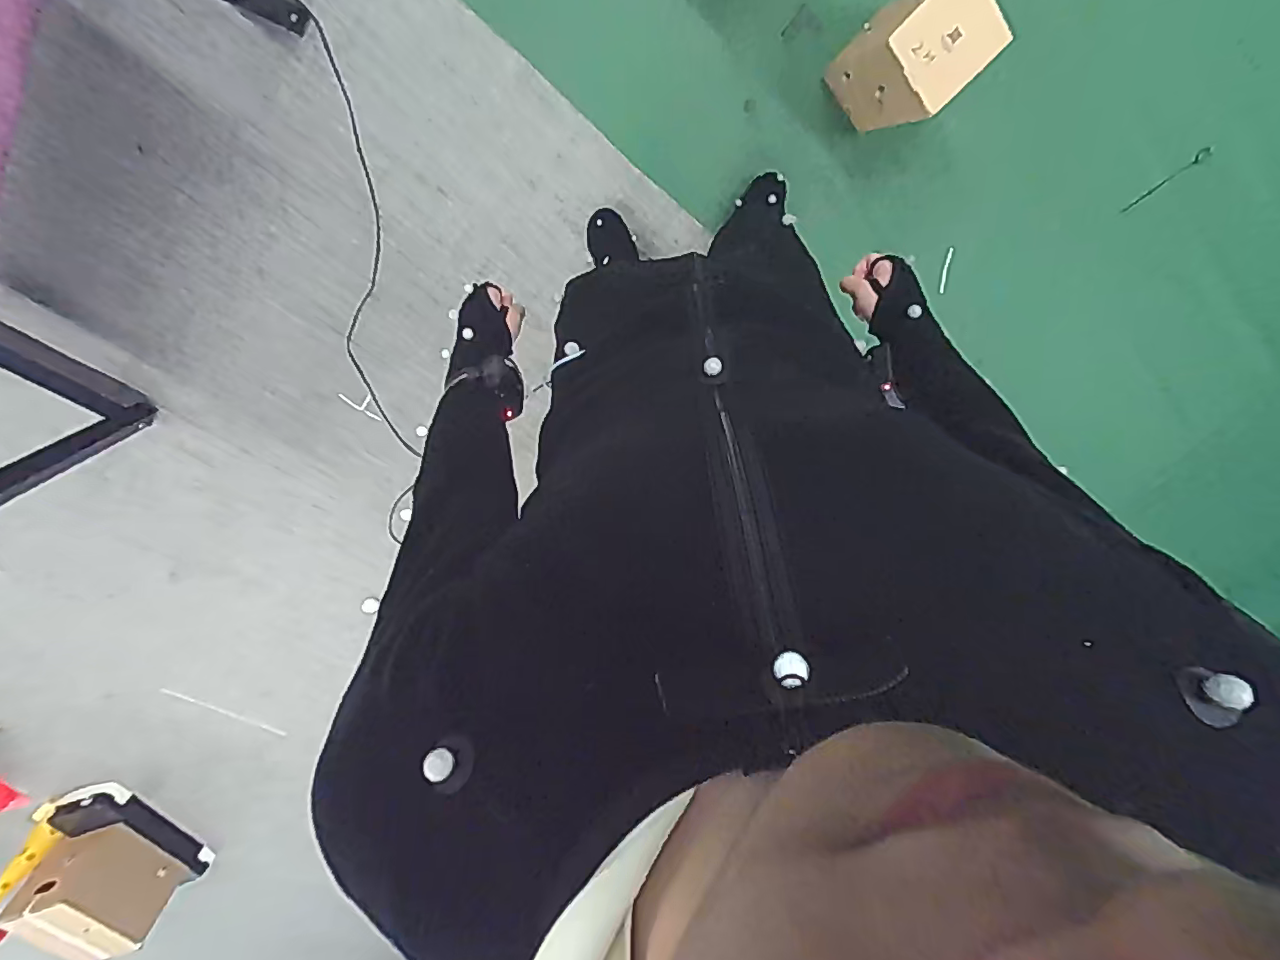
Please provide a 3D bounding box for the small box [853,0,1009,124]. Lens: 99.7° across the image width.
[{"bbox_3d":[0.554,-0.835,1.053,0.179,0.176,0.168,-41,113,17],"label":"small box"}]
